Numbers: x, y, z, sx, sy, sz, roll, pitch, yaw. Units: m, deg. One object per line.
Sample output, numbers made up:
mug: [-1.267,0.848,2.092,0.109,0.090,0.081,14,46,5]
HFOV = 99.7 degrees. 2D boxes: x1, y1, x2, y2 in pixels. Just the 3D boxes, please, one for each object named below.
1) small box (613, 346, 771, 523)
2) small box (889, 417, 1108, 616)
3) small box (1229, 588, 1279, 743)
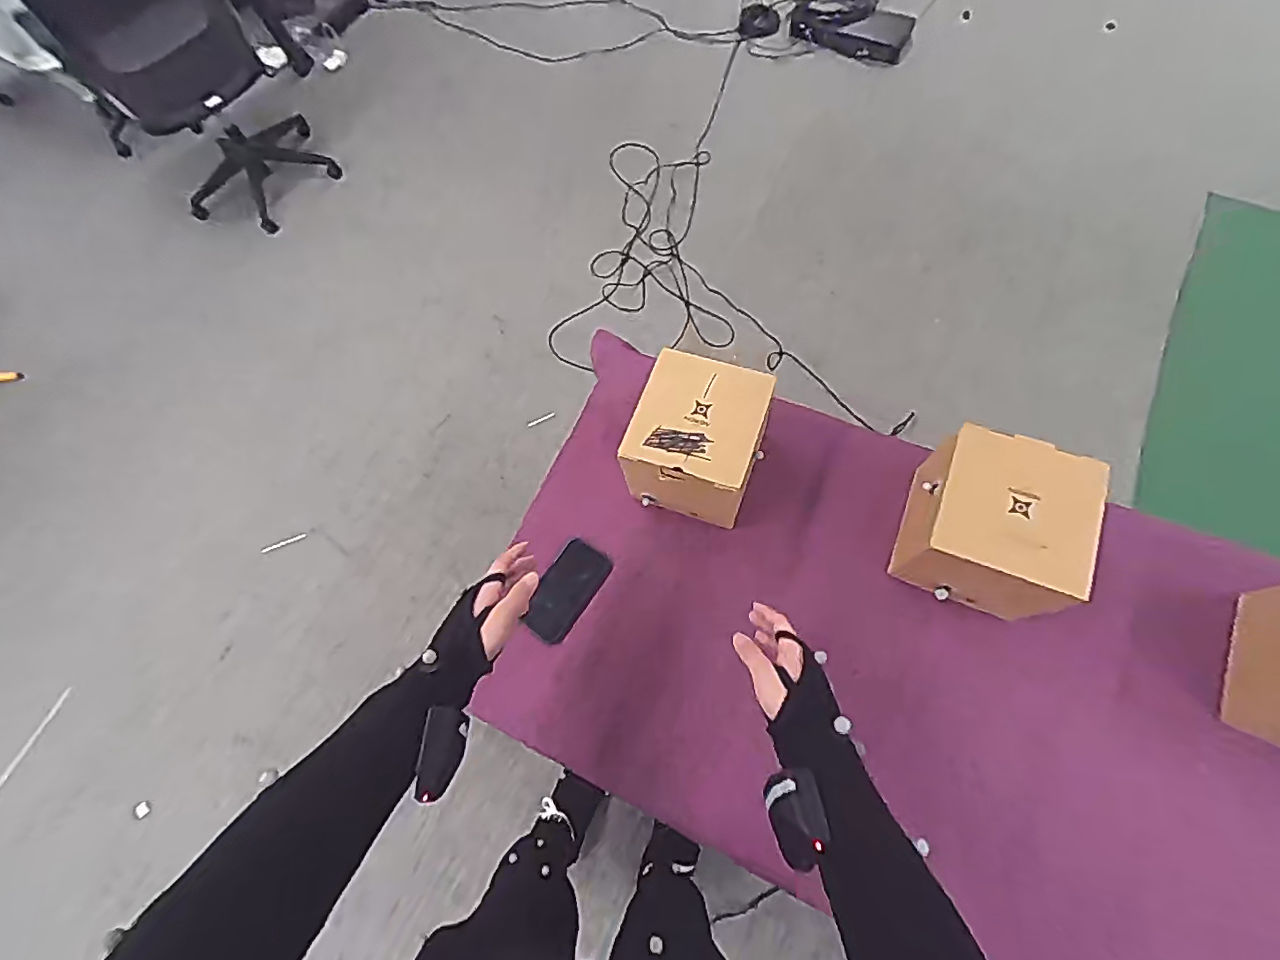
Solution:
small box: [0.078,-0.057,0.775,0.168,0.176,0.179,18,70,13]
small box: [0.441,0.053,0.690,0.168,0.176,0.179,20,72,15]
small box: [0.803,0.215,0.580,0.168,0.176,0.179,23,72,16]
